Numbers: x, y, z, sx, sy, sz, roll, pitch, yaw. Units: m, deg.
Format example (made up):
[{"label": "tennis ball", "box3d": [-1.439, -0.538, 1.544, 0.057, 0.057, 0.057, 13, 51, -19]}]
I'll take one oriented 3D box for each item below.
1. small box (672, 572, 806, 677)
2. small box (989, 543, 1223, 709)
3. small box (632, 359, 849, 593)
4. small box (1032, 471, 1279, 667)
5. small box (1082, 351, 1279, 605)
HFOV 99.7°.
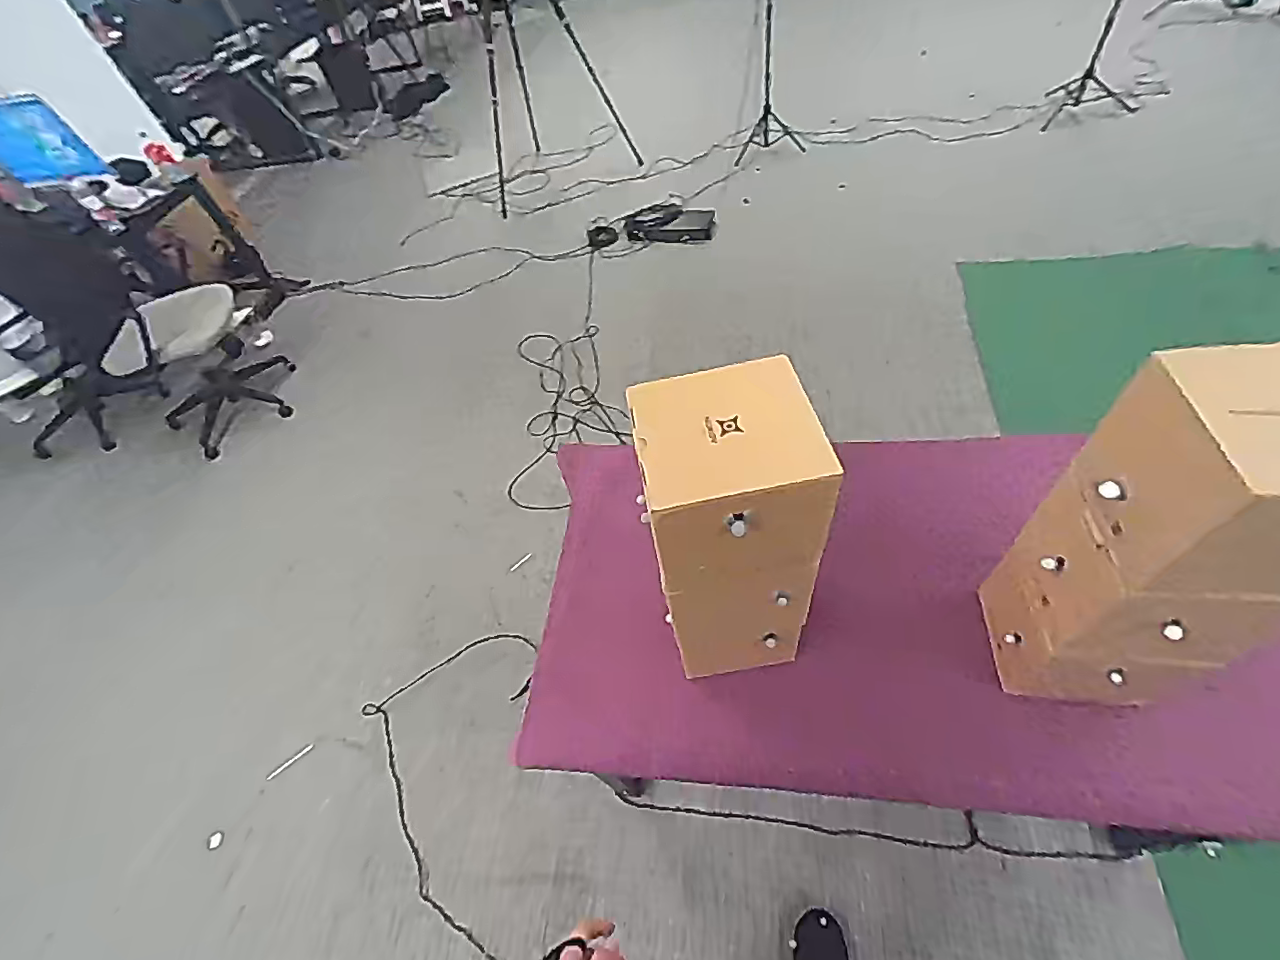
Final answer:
[{"label": "small box", "box3d": [0.142, 0.191, 0.840, 0.179, 0.176, 0.168, -11, 52, 3]}, {"label": "small box", "box3d": [0.608, 0.202, 0.743, 0.179, 0.176, 0.168, 2, 54, 13]}, {"label": "small box", "box3d": [0.097, 0.001, 0.578, 0.179, 0.176, 0.168, -12, 53, 2]}, {"label": "small box", "box3d": [0.583, 0.103, 0.616, 0.179, 0.176, 0.168, 0, 54, 13]}, {"label": "small box", "box3d": [0.558, 0.003, 0.487, 0.179, 0.176, 0.168, -1, 53, 12]}]
